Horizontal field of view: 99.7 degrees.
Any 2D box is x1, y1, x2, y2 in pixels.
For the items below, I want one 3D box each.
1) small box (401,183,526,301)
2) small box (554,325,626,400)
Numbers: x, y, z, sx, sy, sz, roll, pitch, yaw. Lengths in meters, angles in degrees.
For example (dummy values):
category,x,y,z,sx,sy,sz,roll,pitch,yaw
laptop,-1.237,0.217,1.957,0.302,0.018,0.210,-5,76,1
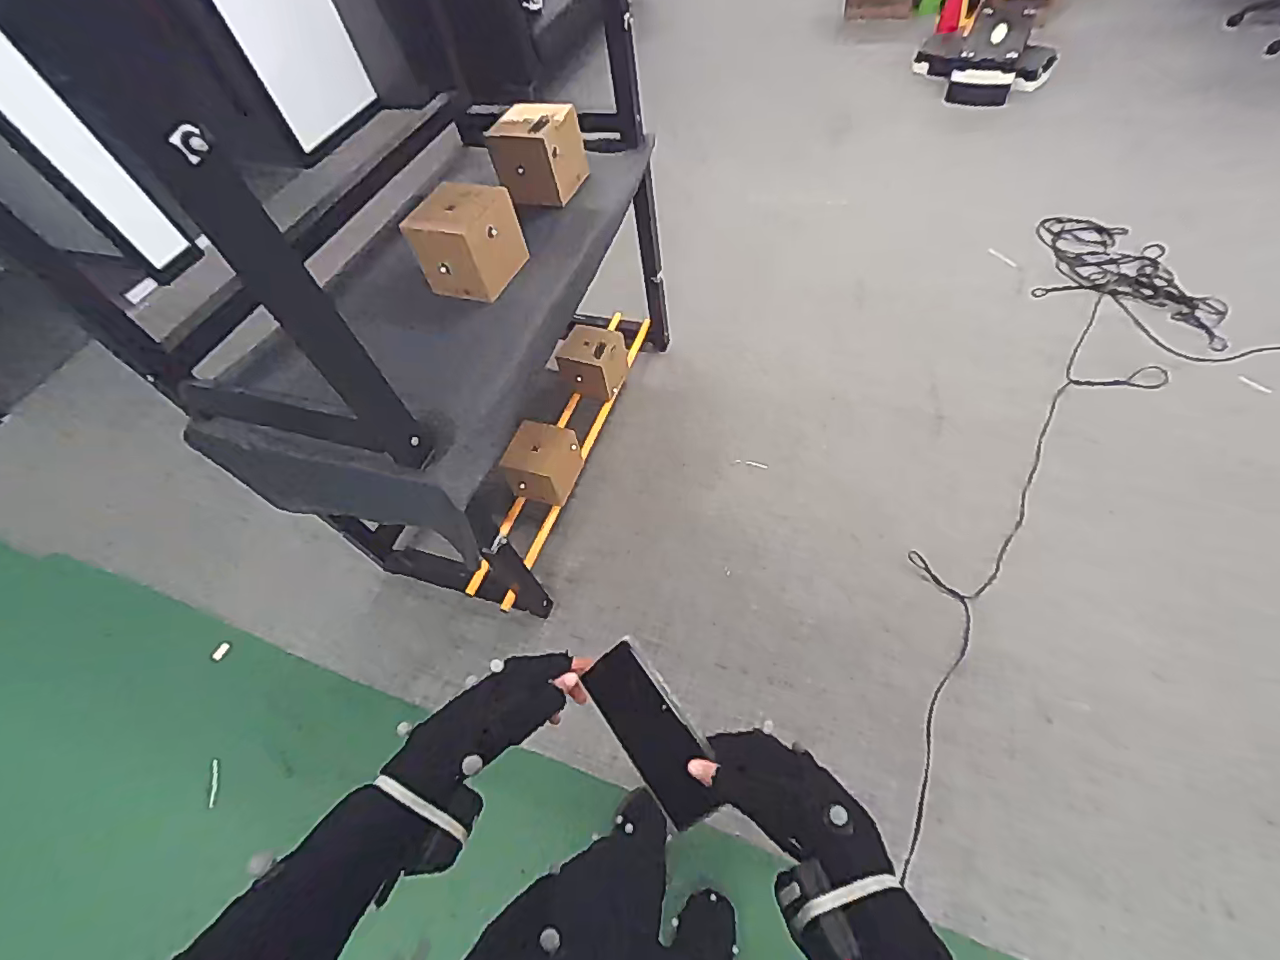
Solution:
category,x,y,z,sx,sy,sz,roll,pitch,yaw
small box,-0.375,-0.520,1.189,0.168,0.176,0.179,15,59,18
small box,-0.160,-0.393,1.829,0.179,0.176,0.168,16,59,18
